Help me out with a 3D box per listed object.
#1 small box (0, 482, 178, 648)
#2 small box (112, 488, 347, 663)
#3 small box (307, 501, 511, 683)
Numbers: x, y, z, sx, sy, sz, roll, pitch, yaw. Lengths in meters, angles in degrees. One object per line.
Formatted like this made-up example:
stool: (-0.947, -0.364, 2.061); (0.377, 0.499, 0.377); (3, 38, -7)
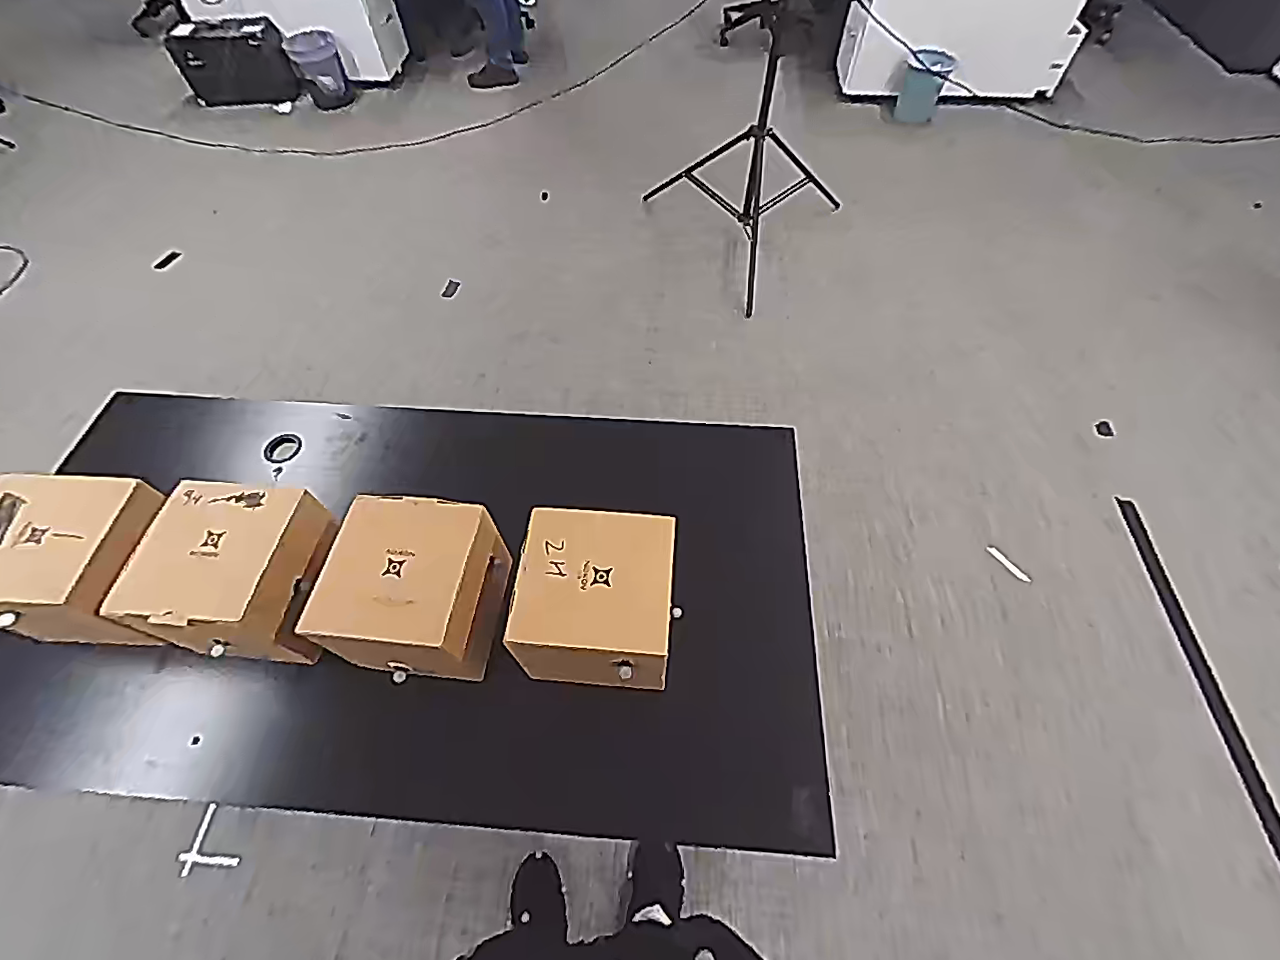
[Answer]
small box: (-0.714, 0.117, 0.717); (0.179, 0.176, 0.168); (2, 57, 1)
small box: (-0.499, 0.130, 0.707); (0.168, 0.176, 0.179); (4, 58, 4)
small box: (-0.274, 0.147, 0.695); (0.168, 0.176, 0.179); (3, 58, 4)
